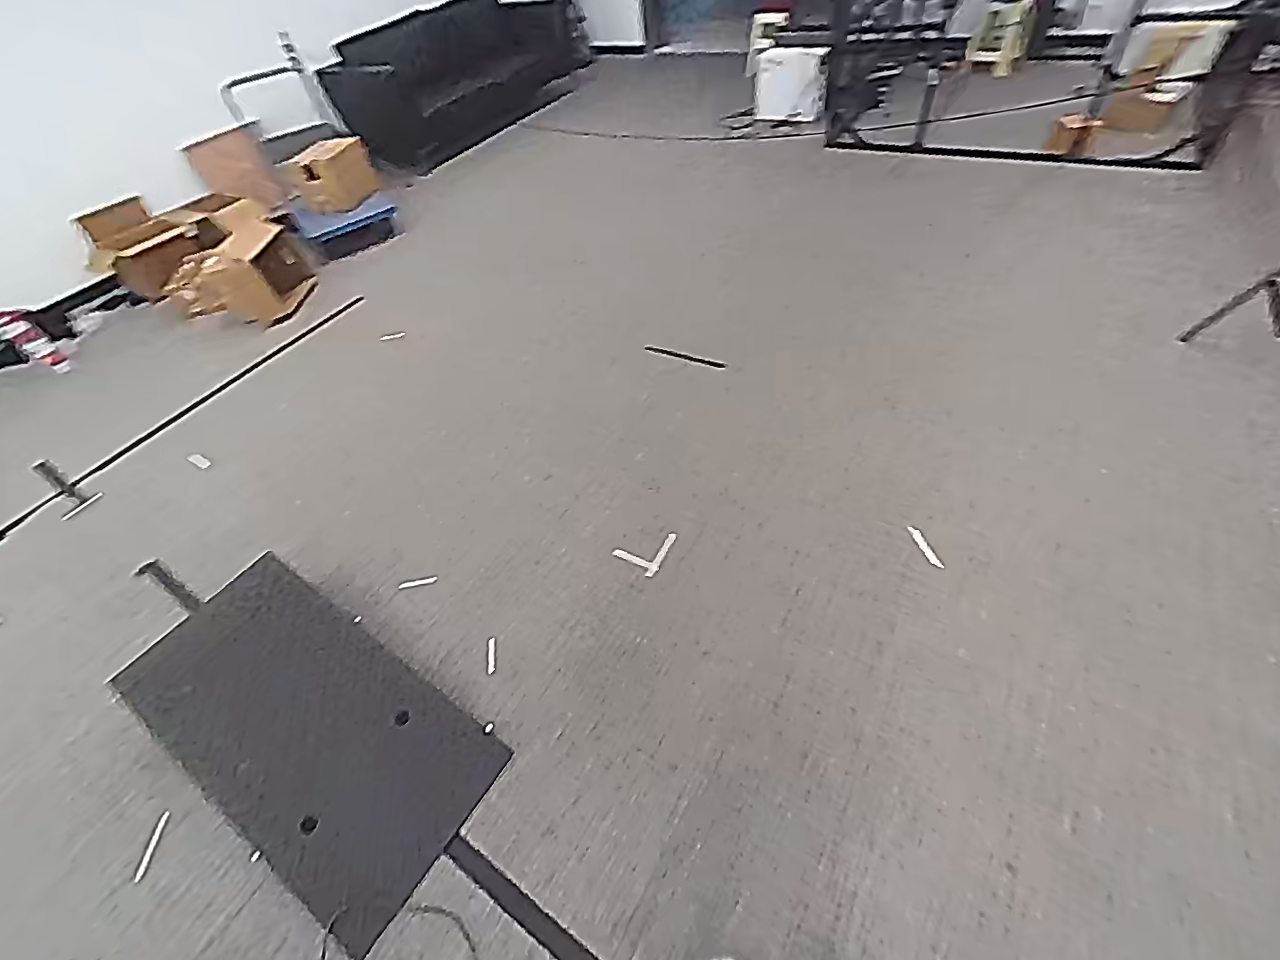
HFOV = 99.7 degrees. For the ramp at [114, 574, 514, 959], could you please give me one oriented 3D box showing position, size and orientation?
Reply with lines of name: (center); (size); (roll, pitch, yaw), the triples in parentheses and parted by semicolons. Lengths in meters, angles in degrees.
ramp: (-0.856, 0.674, 1.411); (0.991, 0.206, 0.509); (21, 54, 26)
